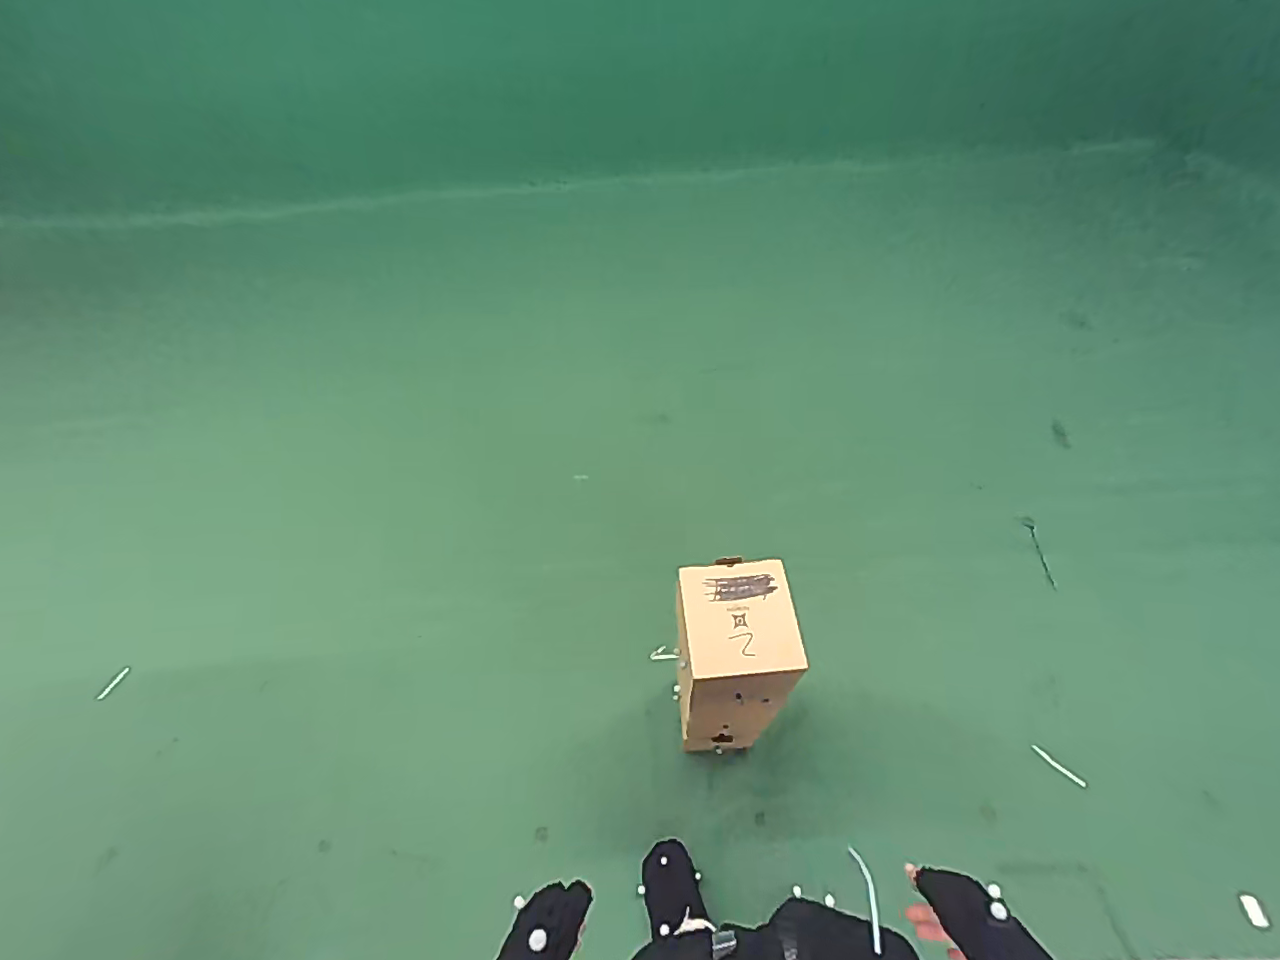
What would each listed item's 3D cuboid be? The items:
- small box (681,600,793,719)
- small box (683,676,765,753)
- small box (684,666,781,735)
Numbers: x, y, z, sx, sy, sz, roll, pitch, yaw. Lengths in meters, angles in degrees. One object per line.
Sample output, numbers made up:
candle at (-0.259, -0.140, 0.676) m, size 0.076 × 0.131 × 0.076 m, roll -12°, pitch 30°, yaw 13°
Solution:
small box at (0.171, 0.340, 1.008) m, size 0.179 × 0.176 × 0.168 m, roll -5°, pitch 55°, yaw 1°
small box at (0.189, 0.530, 1.273) m, size 0.168 × 0.176 × 0.179 m, roll -4°, pitch 55°, yaw 2°
small box at (0.185, 0.432, 1.139) m, size 0.179 × 0.176 × 0.168 m, roll -2°, pitch 53°, yaw 2°
